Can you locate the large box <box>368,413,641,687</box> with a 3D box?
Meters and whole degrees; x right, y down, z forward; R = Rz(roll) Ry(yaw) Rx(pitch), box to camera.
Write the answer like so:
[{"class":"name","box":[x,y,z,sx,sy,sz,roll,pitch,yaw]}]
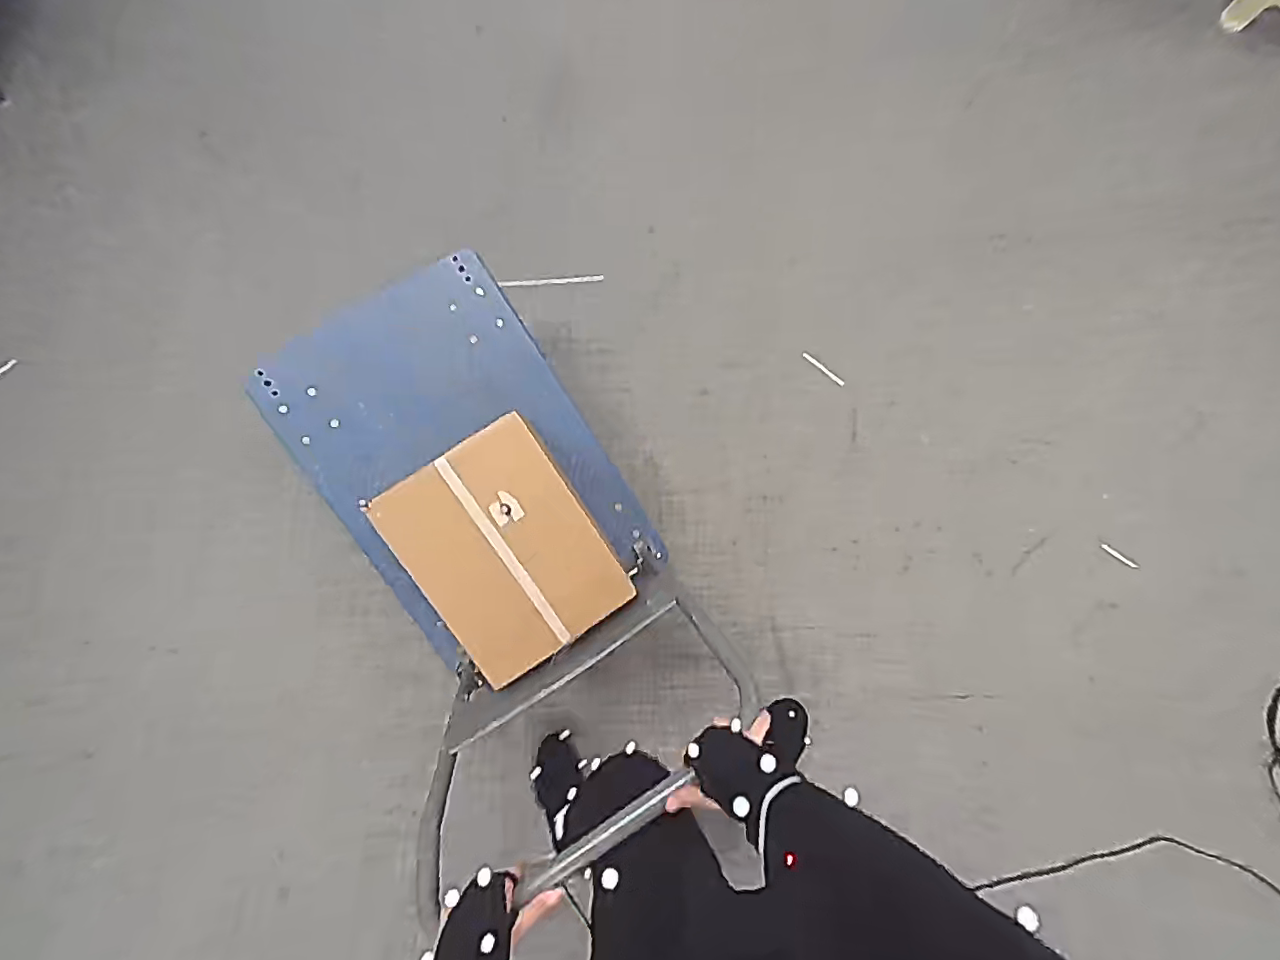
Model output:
[{"class":"large box","box":[-0.248,0.120,1.101,0.320,0.320,0.408,-34,97,-5]}]
